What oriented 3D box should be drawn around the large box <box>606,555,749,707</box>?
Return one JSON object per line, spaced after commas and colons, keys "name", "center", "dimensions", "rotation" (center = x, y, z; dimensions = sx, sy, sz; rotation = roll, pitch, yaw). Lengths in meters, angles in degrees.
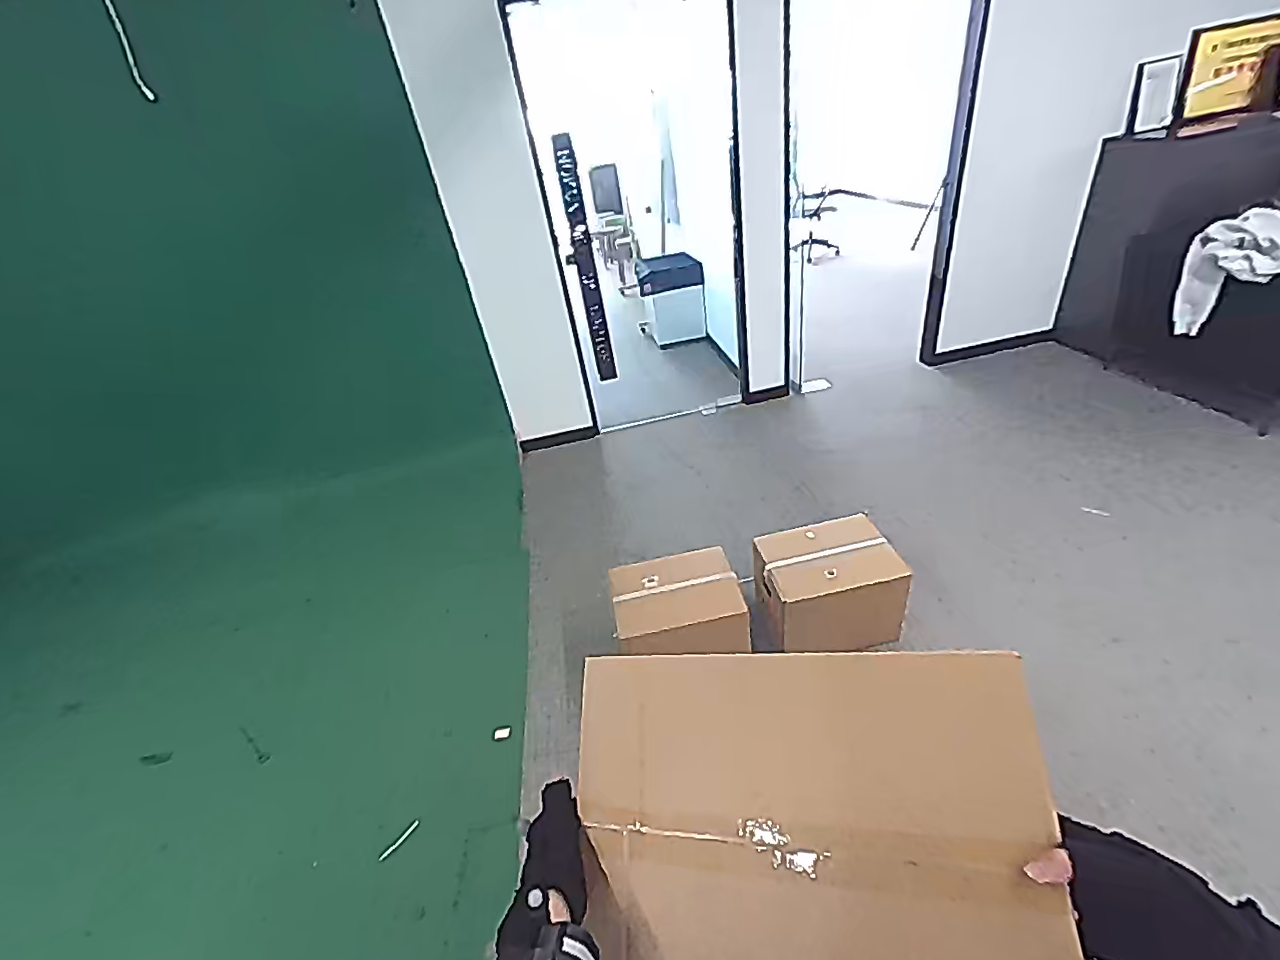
{"name": "large box", "center": [0.122, 0.500, 1.807], "dimensions": [0.408, 0.320, 0.320], "rotation": [-12, 32, -2]}
